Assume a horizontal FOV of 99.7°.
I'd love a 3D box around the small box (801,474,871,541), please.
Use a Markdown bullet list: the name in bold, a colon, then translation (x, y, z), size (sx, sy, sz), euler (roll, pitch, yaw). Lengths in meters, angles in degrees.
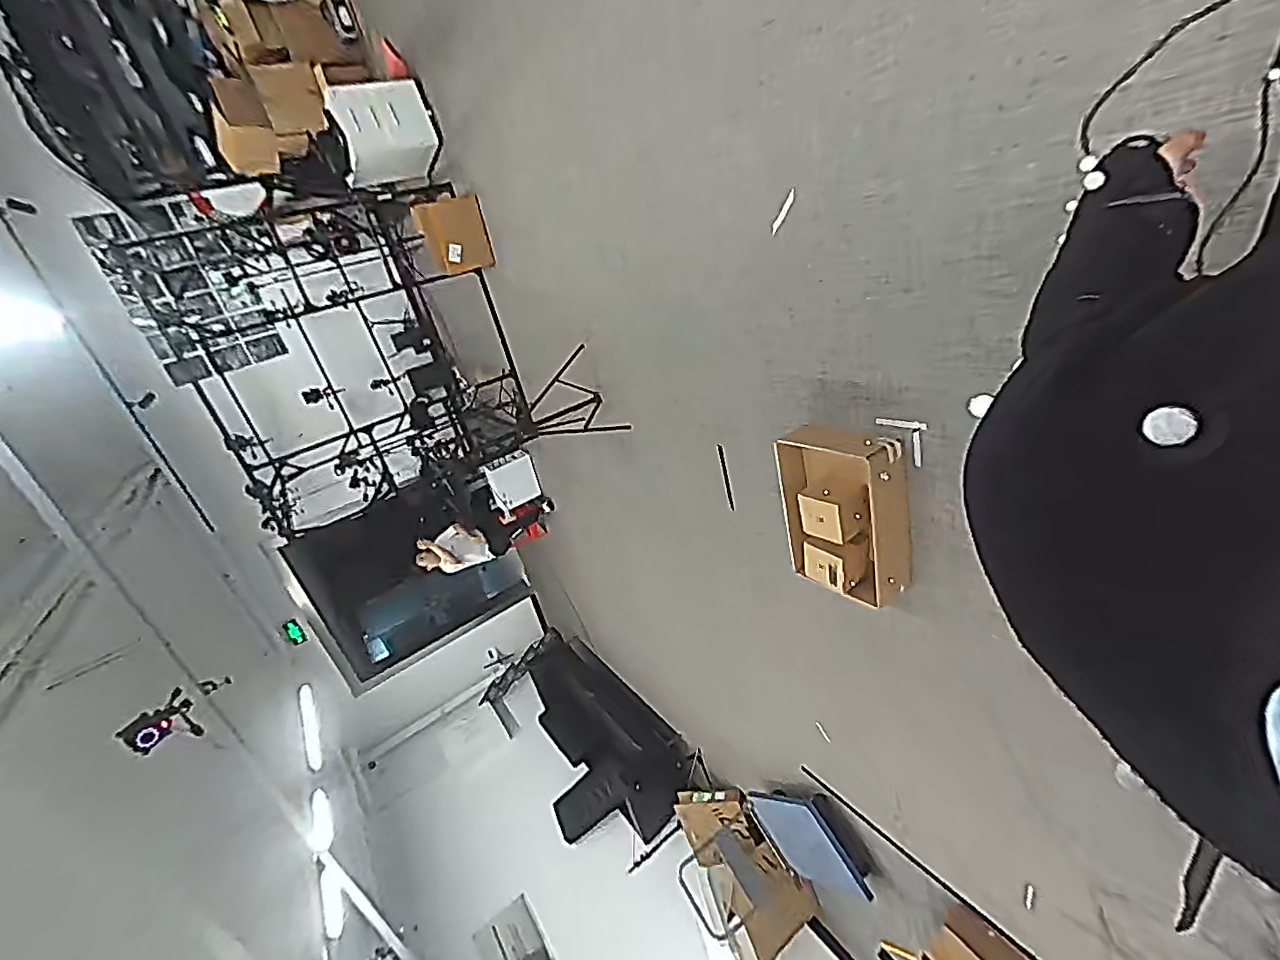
- **small box**: translation (0.720, 0.092, 1.966), size (0.179, 0.176, 0.168), euler (20, 132, 54)
